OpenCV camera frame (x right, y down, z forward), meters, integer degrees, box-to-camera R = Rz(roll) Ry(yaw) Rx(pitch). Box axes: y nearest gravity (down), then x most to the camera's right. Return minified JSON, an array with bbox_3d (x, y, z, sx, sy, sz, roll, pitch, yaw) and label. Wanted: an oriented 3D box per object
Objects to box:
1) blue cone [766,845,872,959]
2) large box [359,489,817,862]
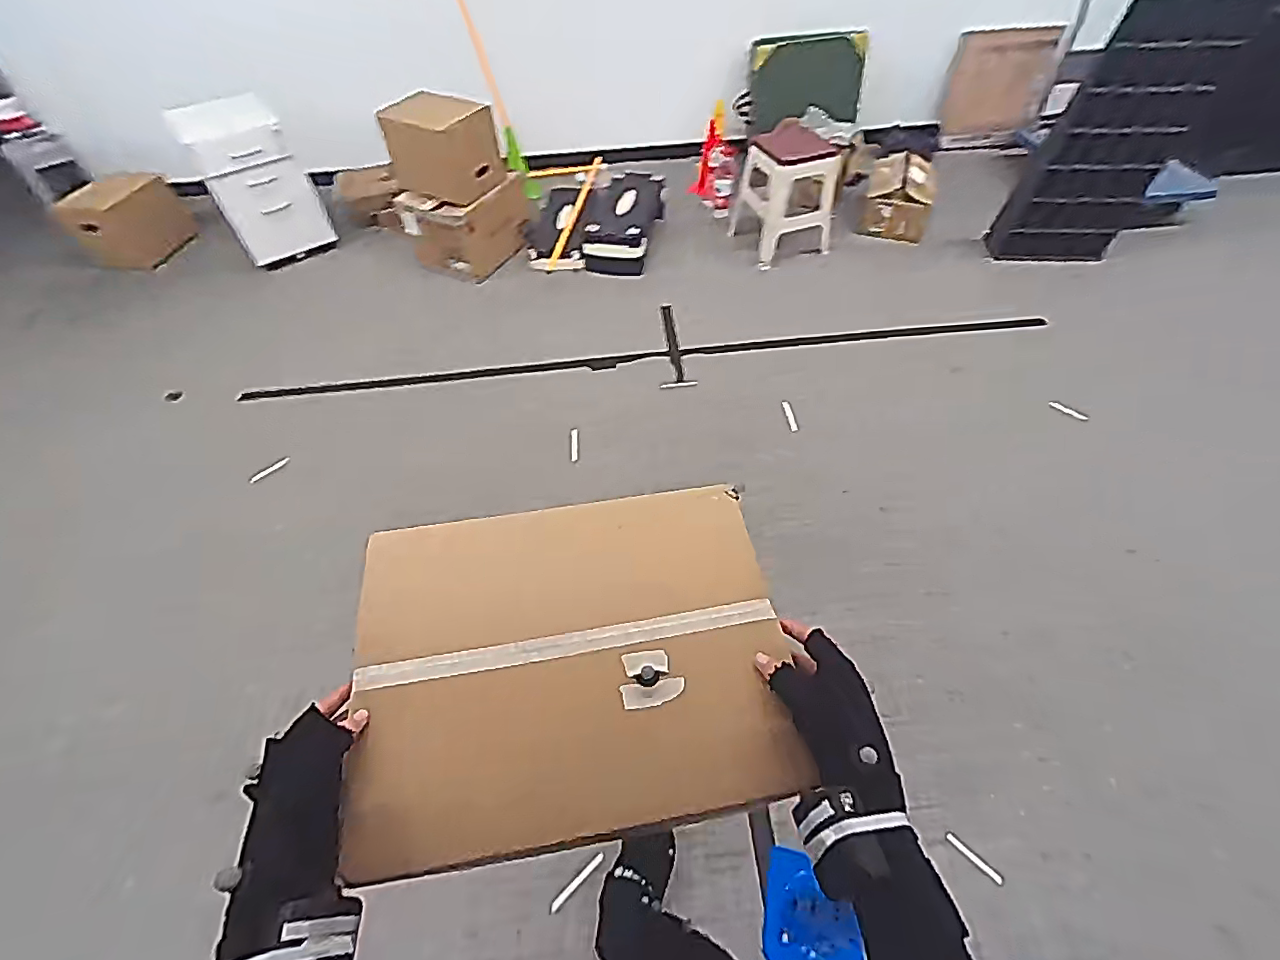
[{"bbox_3d":[0.359,0.793,1.006,0.193,0.380,0.192,12,53,11],"label":"blue cone"},{"bbox_3d":[-0.063,0.245,0.663,0.408,0.320,0.320,-7,56,-6],"label":"large box"}]
